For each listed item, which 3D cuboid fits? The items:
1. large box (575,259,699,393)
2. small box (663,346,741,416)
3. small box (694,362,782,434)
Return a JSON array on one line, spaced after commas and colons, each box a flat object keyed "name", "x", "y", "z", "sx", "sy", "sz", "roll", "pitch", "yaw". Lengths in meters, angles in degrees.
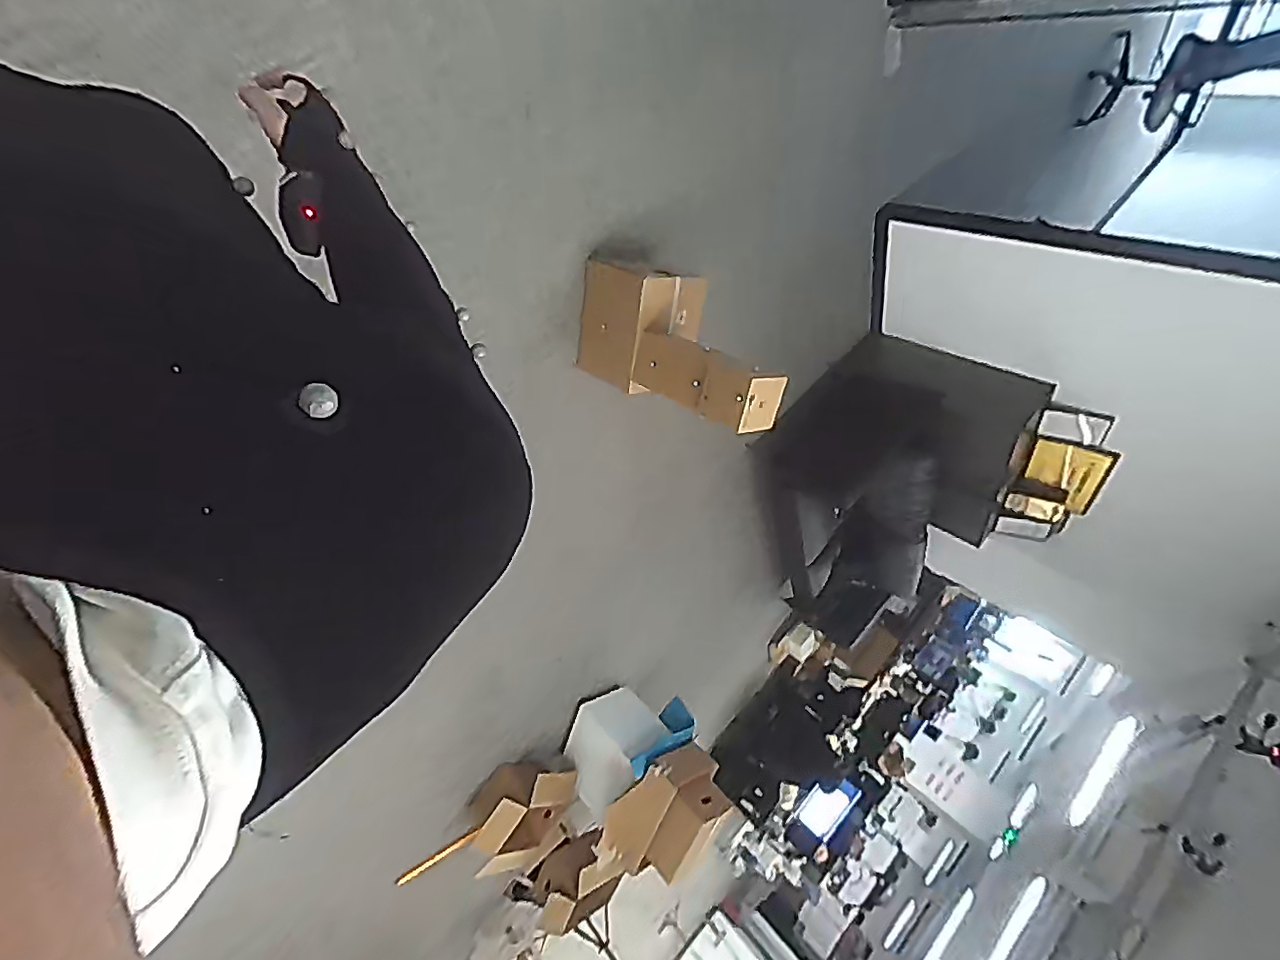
[{"name": "large box", "x": -0.024, "y": -0.578, "z": 1.998, "sx": 0.320, "sy": 0.320, "sz": 0.408, "roll": -20, "pitch": 129, "yaw": -40}, {"name": "small box", "x": 0.195, "y": -0.323, "z": 1.750, "sx": 0.168, "sy": 0.176, "sz": 0.179, "roll": -14, "pitch": 125, "yaw": -41}, {"name": "small box", "x": 0.293, "y": -0.254, "z": 1.637, "sx": 0.179, "sy": 0.176, "sz": 0.168, "roll": -13, "pitch": 124, "yaw": -42}]
